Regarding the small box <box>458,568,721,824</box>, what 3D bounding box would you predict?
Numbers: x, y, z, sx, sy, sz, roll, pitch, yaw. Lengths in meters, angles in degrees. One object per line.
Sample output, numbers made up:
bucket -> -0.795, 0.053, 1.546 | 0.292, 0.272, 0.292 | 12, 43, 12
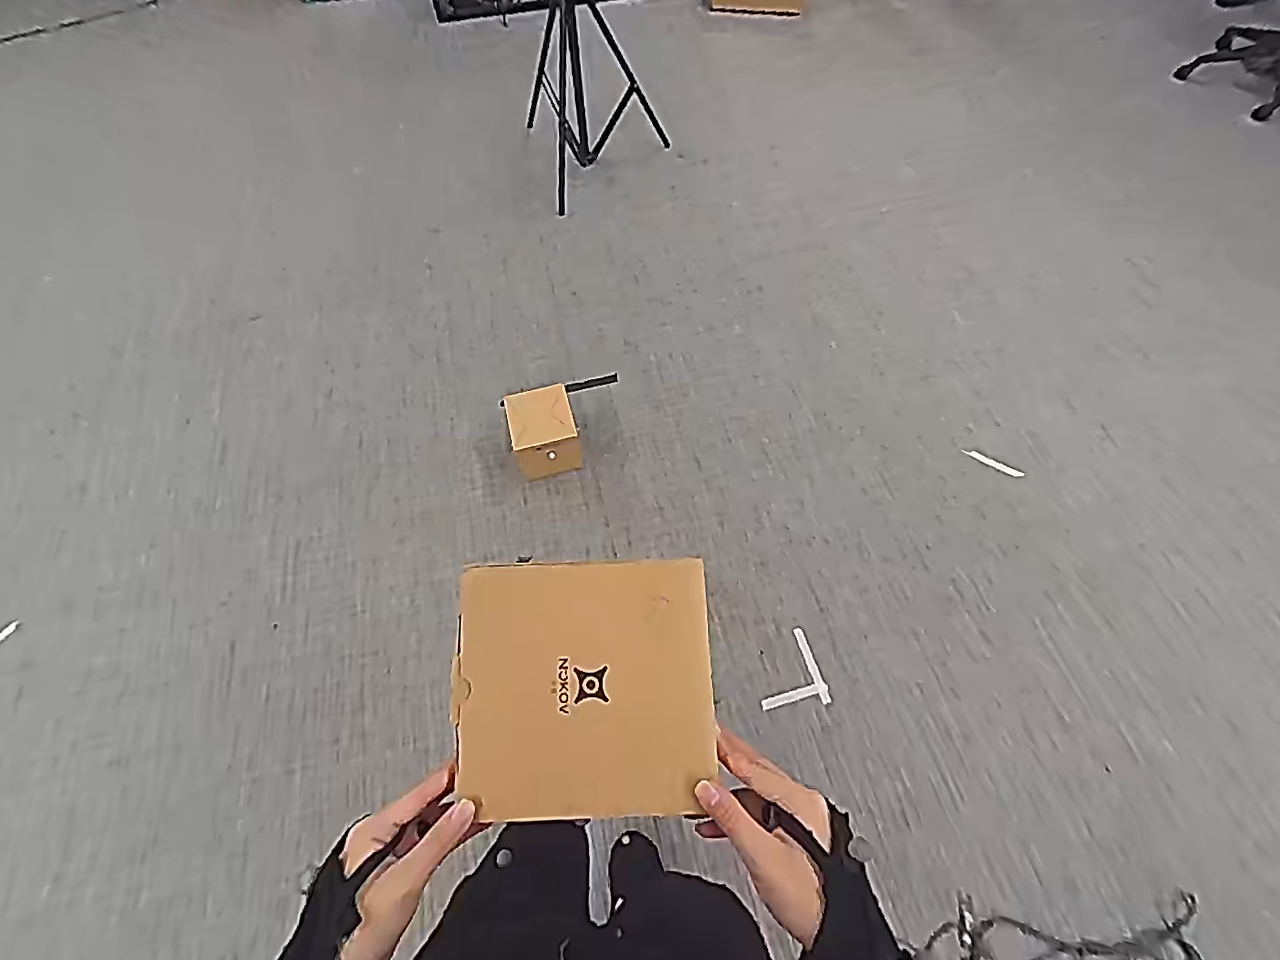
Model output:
small box -> -0.035, 0.160, 0.449 | 0.179, 0.176, 0.168 | -3, 77, 1

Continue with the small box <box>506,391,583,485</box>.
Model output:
small box -> -0.261, -0.117, 1.477 | 0.168, 0.176, 0.179 | -14, 62, -6
